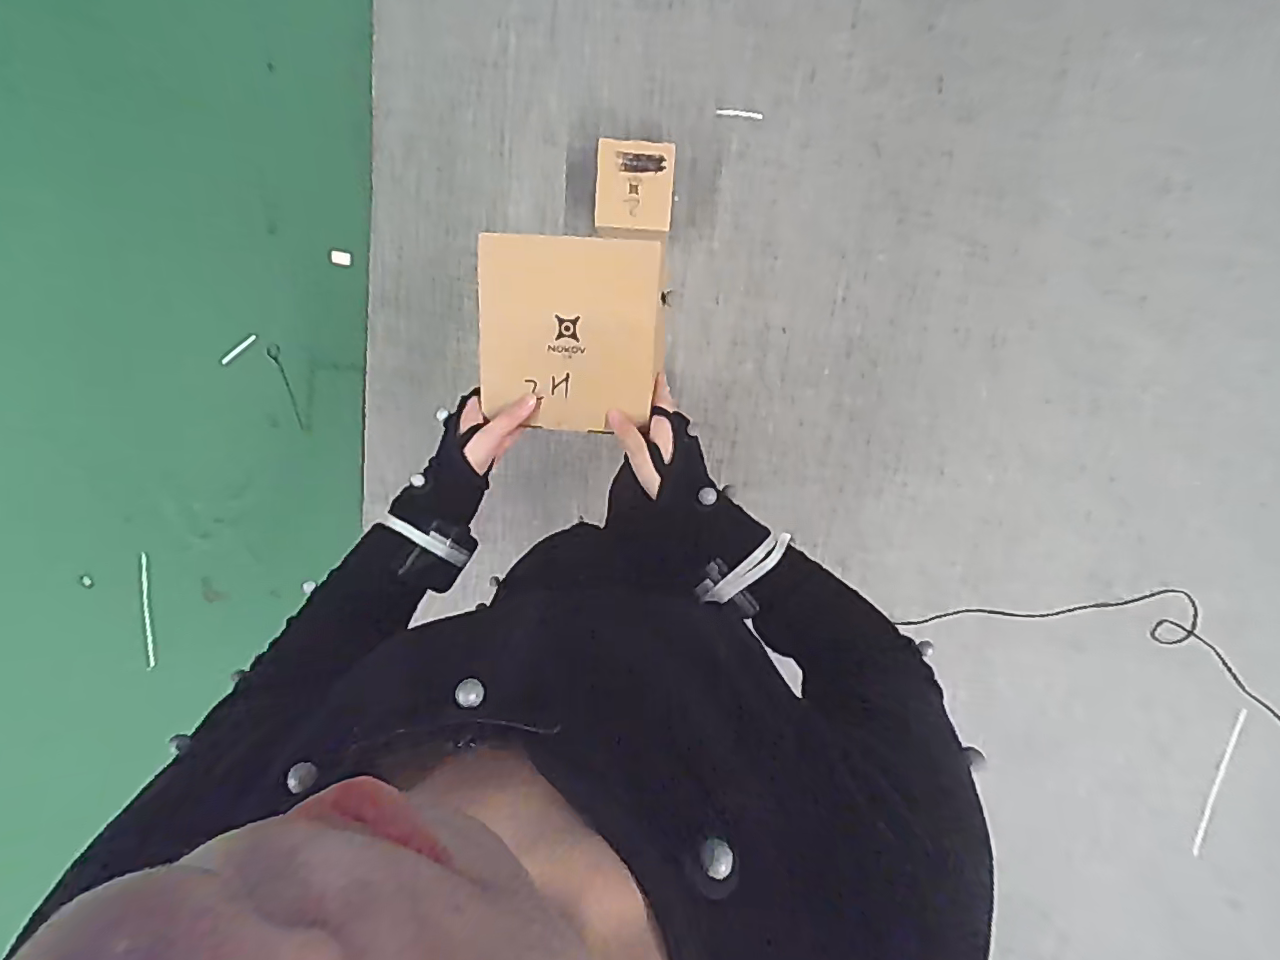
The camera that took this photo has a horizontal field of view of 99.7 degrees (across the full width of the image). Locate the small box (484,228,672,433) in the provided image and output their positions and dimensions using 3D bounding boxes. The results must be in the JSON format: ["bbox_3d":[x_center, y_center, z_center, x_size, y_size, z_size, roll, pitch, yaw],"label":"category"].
[{"bbox_3d":[-0.057,-0.158,0.583,0.168,0.176,0.179,6,106,6],"label":"small box"}]
